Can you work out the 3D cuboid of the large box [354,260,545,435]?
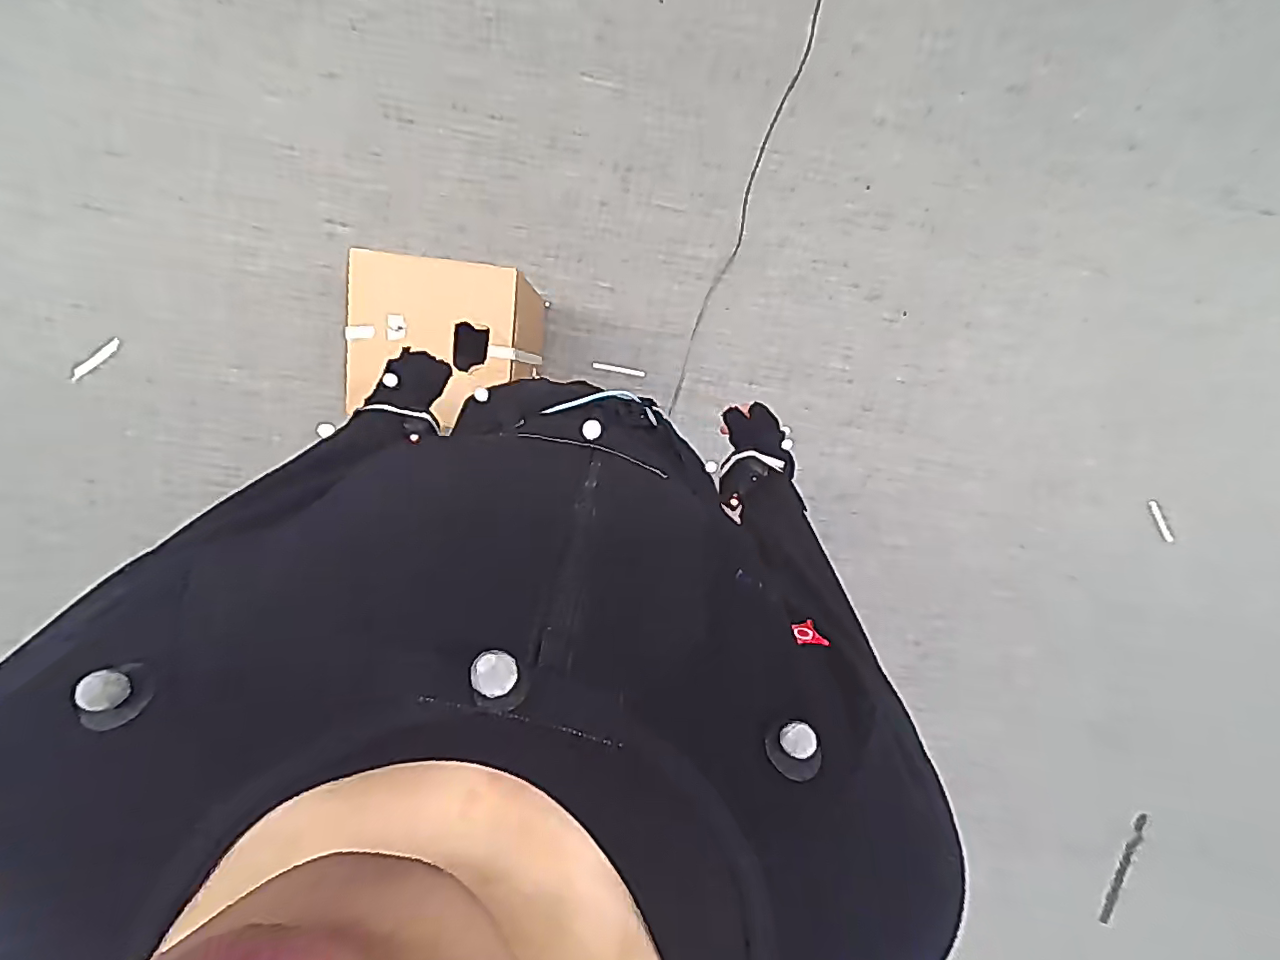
[{"bbox_3d":[-0.405,-0.291,1.229,0.320,0.408,0.320,6,101,-4],"label":"large box"}]
